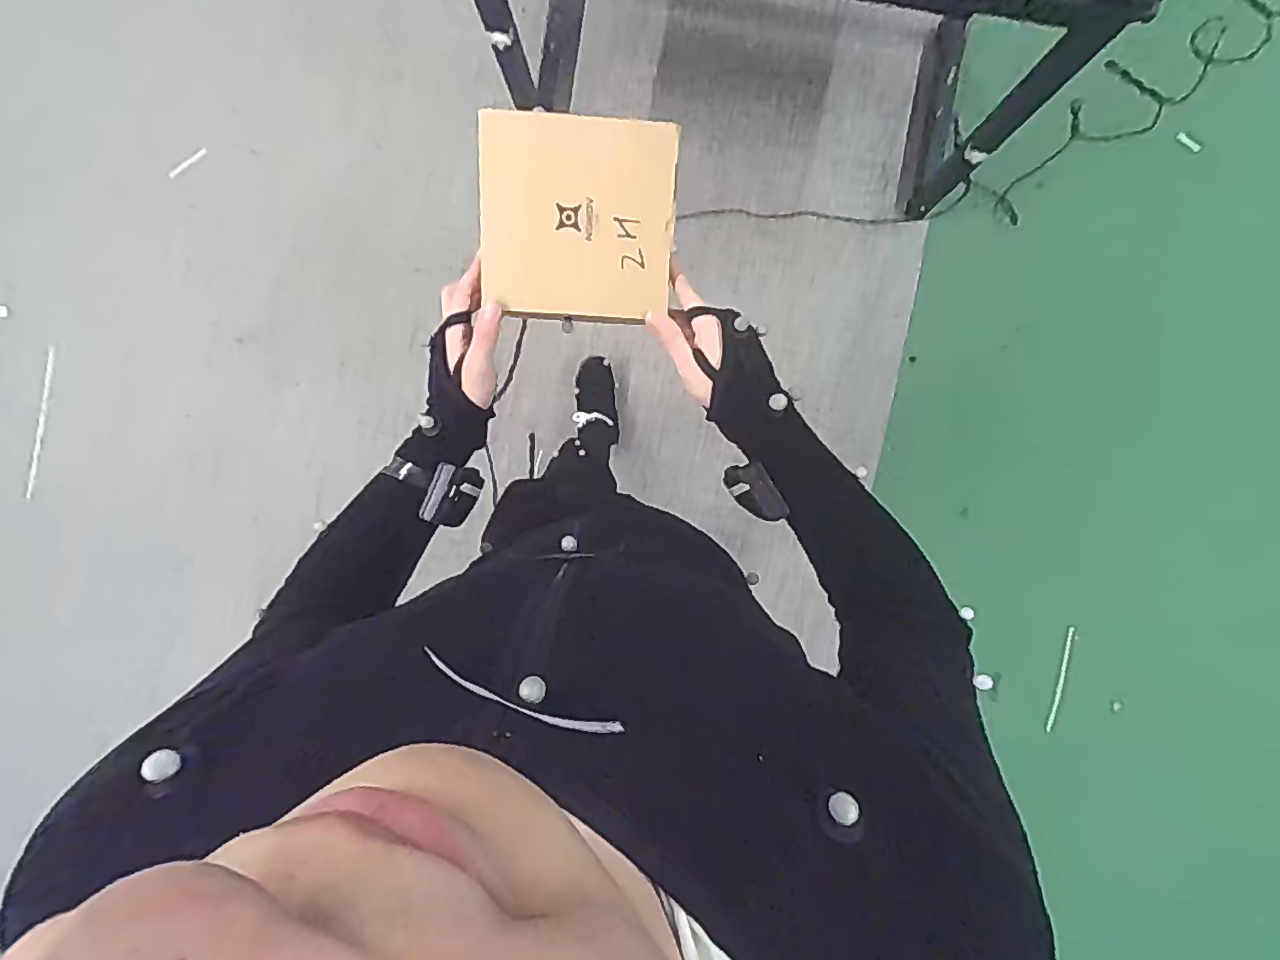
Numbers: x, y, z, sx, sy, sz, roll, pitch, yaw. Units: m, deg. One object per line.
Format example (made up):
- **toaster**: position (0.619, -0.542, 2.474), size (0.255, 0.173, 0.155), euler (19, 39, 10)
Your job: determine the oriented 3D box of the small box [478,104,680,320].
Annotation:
- **small box**: position (-0.058, -0.258, 0.561), size (0.179, 0.176, 0.168), euler (3, 105, -3)
